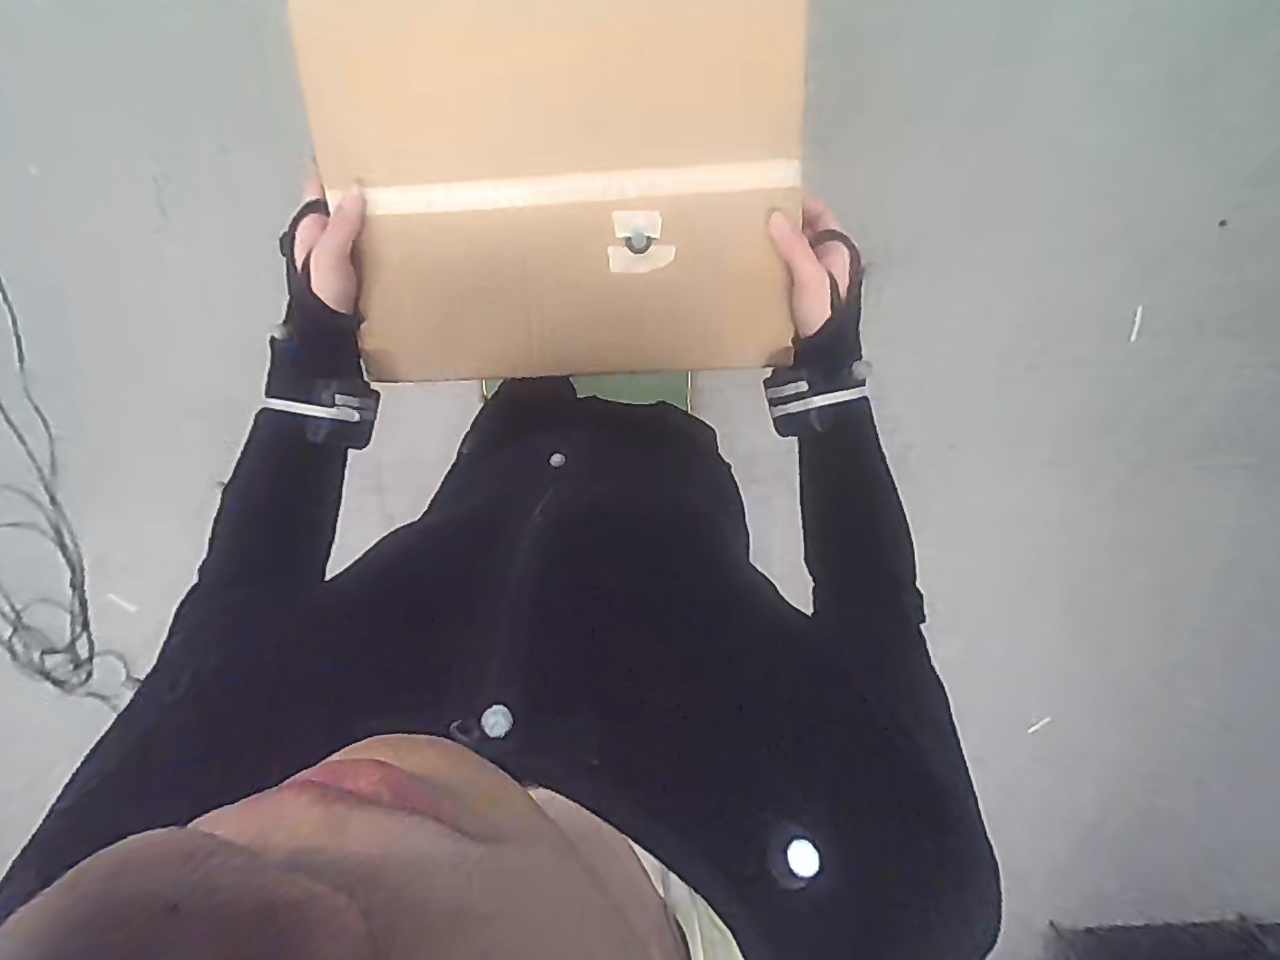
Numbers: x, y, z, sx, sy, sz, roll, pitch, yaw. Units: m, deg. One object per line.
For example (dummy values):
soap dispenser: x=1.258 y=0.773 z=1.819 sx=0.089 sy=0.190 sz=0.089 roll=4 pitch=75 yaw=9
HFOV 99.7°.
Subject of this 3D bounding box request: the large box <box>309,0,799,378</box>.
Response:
large box: x=-0.061 y=-0.299 z=0.614 sx=0.408 sy=0.320 sz=0.320 roll=-2 pitch=108 yaw=3
